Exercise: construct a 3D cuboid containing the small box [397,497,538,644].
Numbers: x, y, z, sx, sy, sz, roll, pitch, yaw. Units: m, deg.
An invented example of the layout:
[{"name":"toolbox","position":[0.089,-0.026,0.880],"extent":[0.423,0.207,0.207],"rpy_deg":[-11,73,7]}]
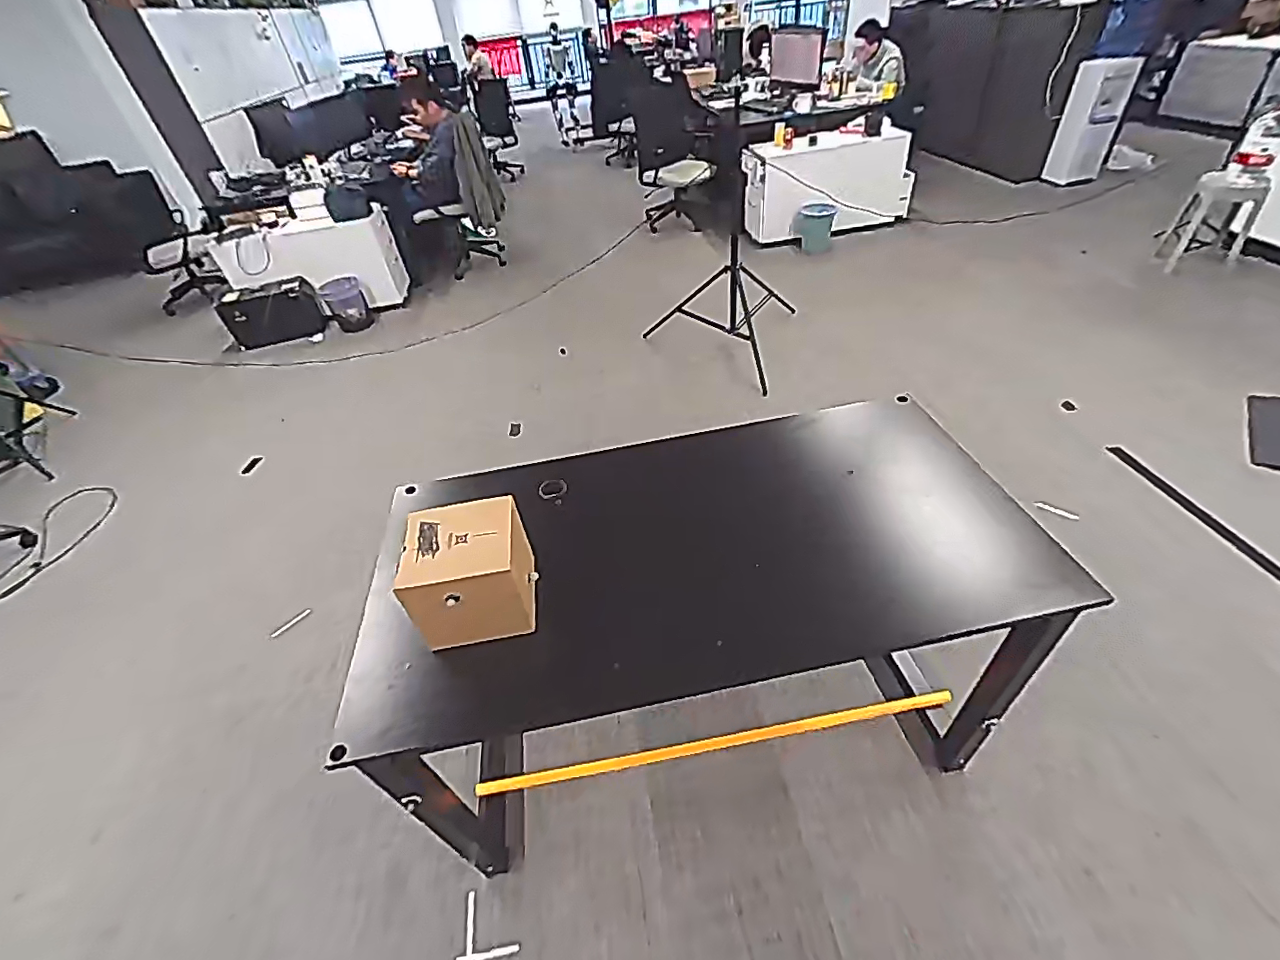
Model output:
[{"name":"small box","position":[-0.277,0.155,0.911],"extent":[0.179,0.176,0.168],"rpy_deg":[-10,42,-3]}]
